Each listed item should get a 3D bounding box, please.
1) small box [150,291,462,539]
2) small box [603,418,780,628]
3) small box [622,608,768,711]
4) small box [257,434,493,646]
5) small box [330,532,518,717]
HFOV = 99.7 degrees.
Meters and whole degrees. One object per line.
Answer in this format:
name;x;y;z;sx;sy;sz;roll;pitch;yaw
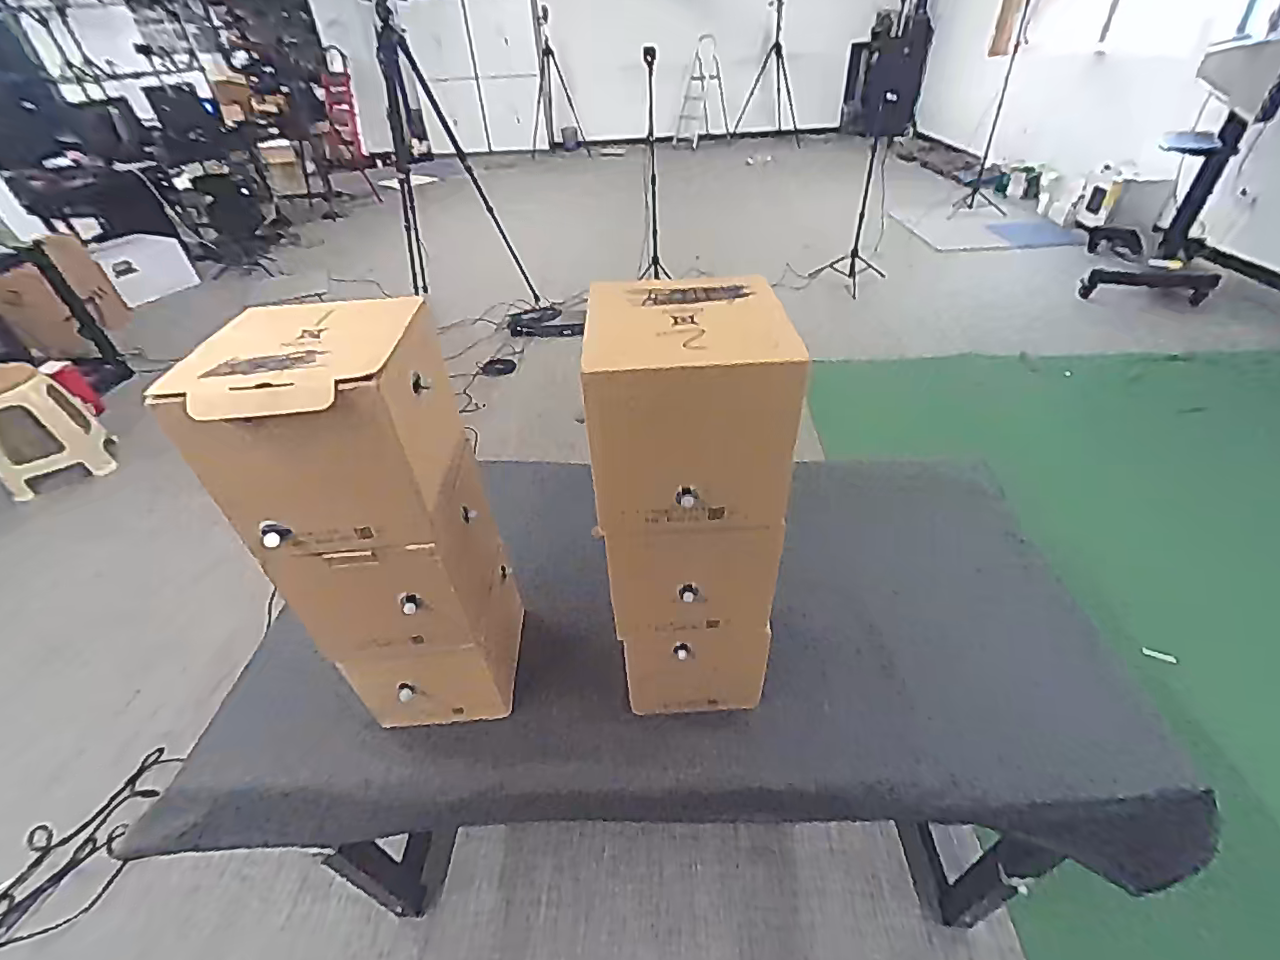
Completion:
small box;-0.275;-0.059;0.502;0.168;0.176;0.179;-5;39;-4
small box;0.048;0.051;0.604;0.168;0.176;0.179;-2;40;-1
small box;0.061;0.178;0.711;0.168;0.176;0.179;-3;39;0
small box;-0.270;0.070;0.605;0.168;0.176;0.179;-4;38;-3
small box;-0.263;0.193;0.710;0.168;0.176;0.179;-4;39;-1
